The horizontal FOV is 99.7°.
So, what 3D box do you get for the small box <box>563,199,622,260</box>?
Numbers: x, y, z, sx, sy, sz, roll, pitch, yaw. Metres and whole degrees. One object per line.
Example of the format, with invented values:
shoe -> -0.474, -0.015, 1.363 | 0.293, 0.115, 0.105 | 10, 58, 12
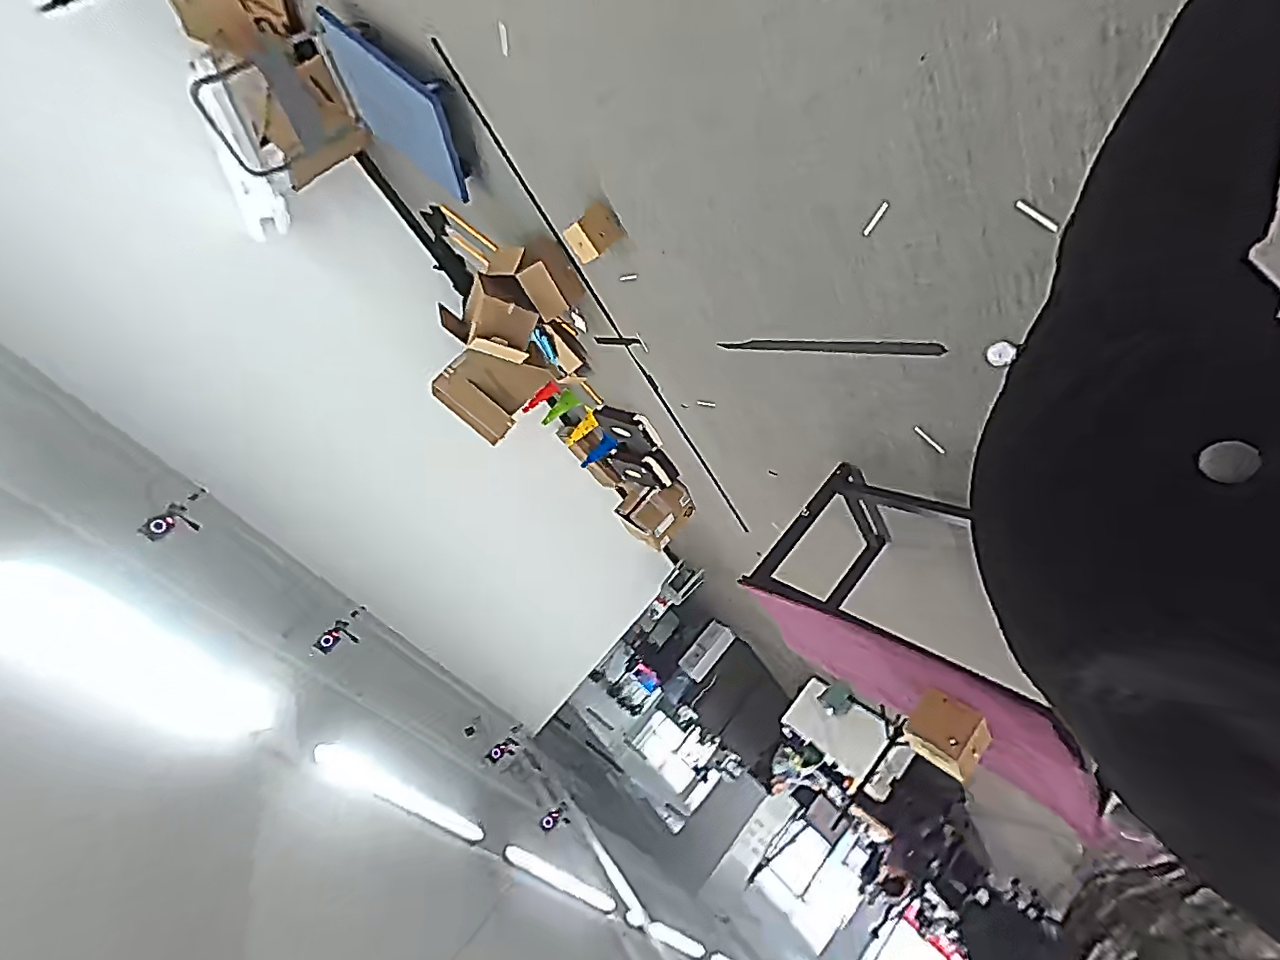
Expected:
small box -> -0.204, -1.116, 2.408 | 0.168, 0.176, 0.179 | 51, 164, -25
